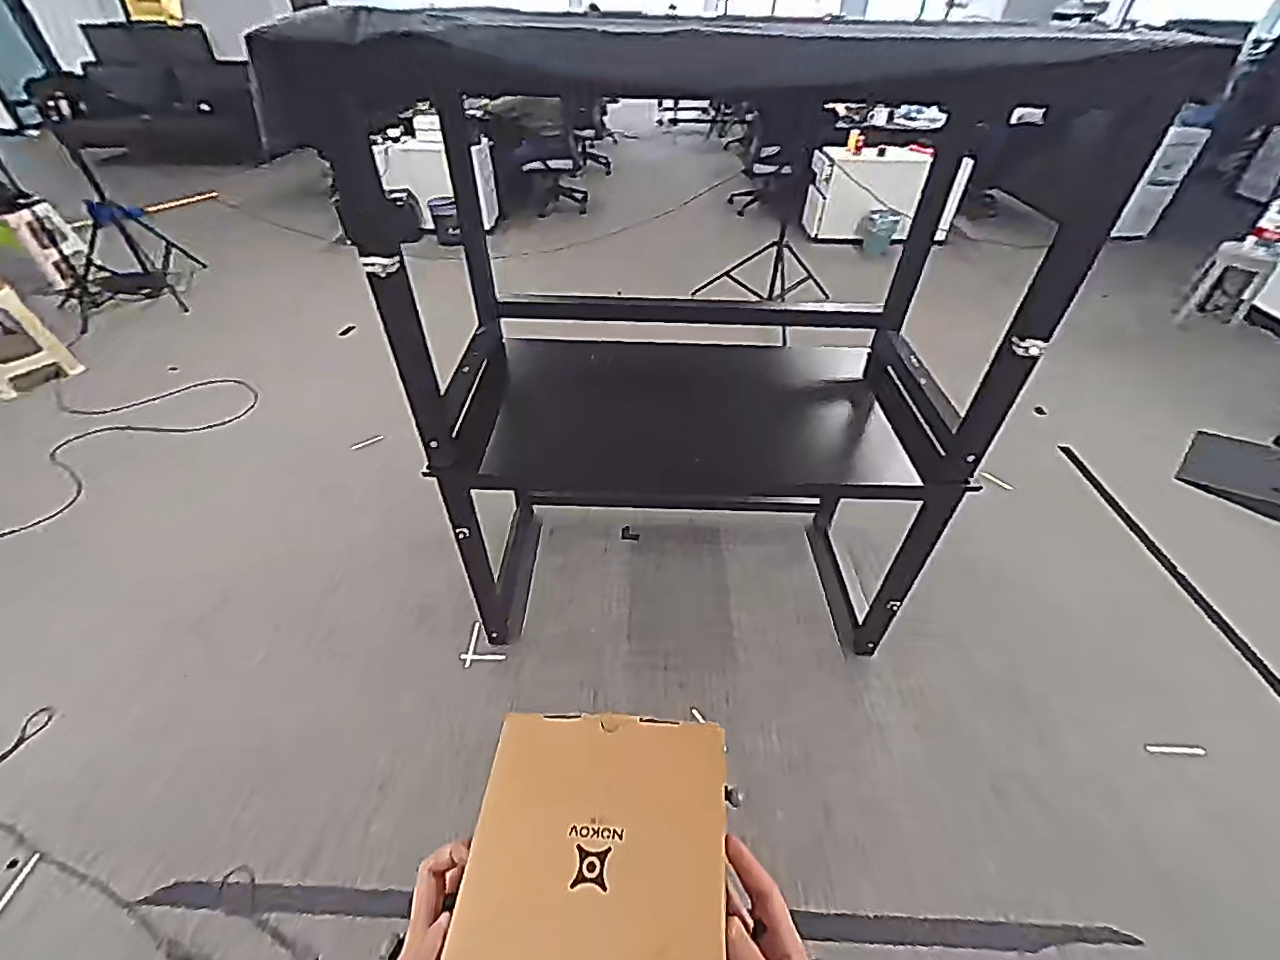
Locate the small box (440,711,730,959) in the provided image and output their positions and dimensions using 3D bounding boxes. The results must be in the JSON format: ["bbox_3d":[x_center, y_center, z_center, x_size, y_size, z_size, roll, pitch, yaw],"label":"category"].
[{"bbox_3d":[-0.019,0.293,0.394,0.168,0.176,0.179,-1,44,9],"label":"small box"}]
